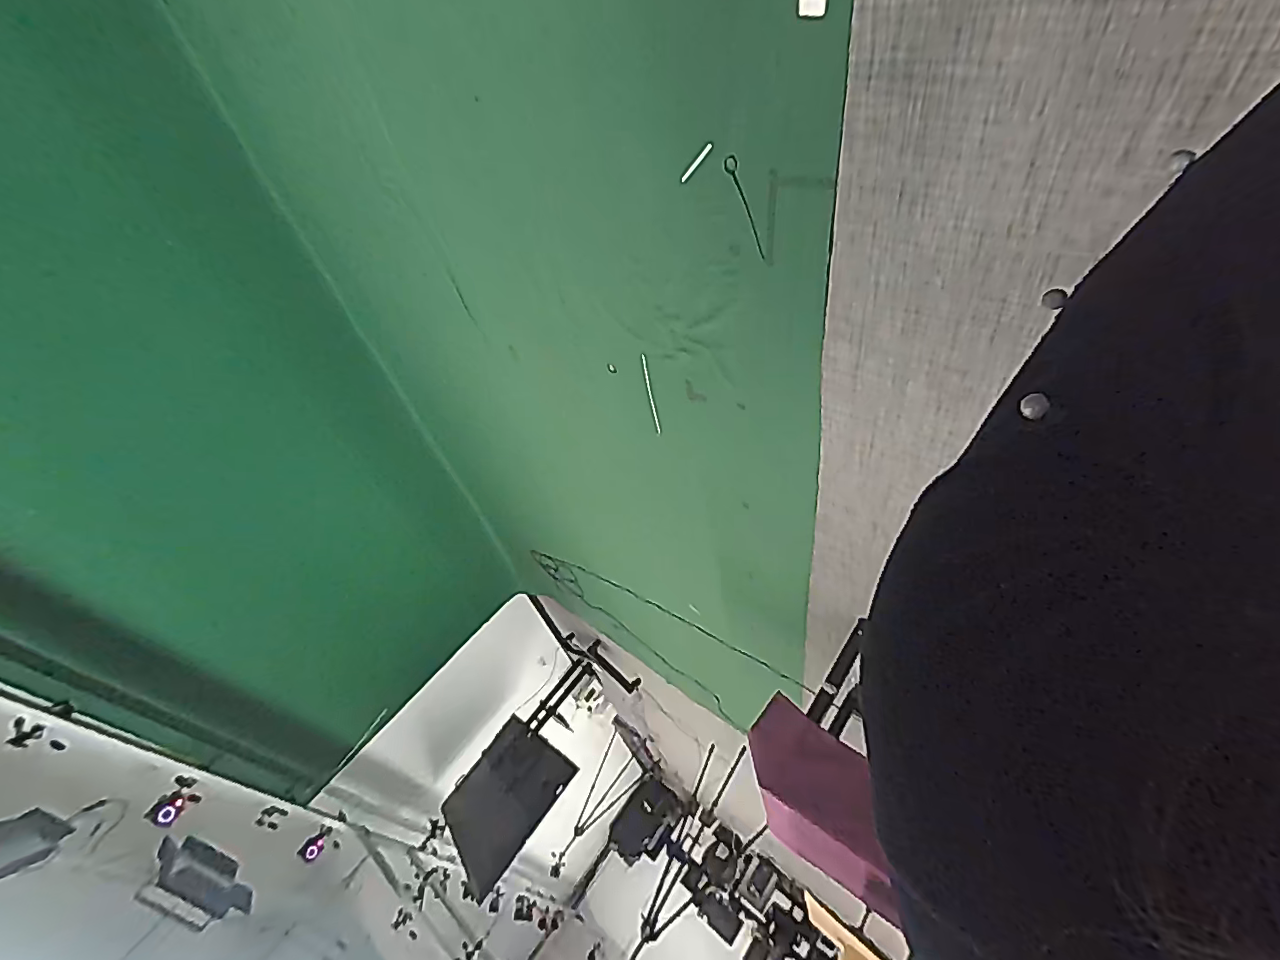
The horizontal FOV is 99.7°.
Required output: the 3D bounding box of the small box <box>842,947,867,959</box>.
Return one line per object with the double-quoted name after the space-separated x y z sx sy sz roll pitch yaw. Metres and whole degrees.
0.649 1.526 1.588 0.168 0.176 0.179 27 148 36 "small box"
